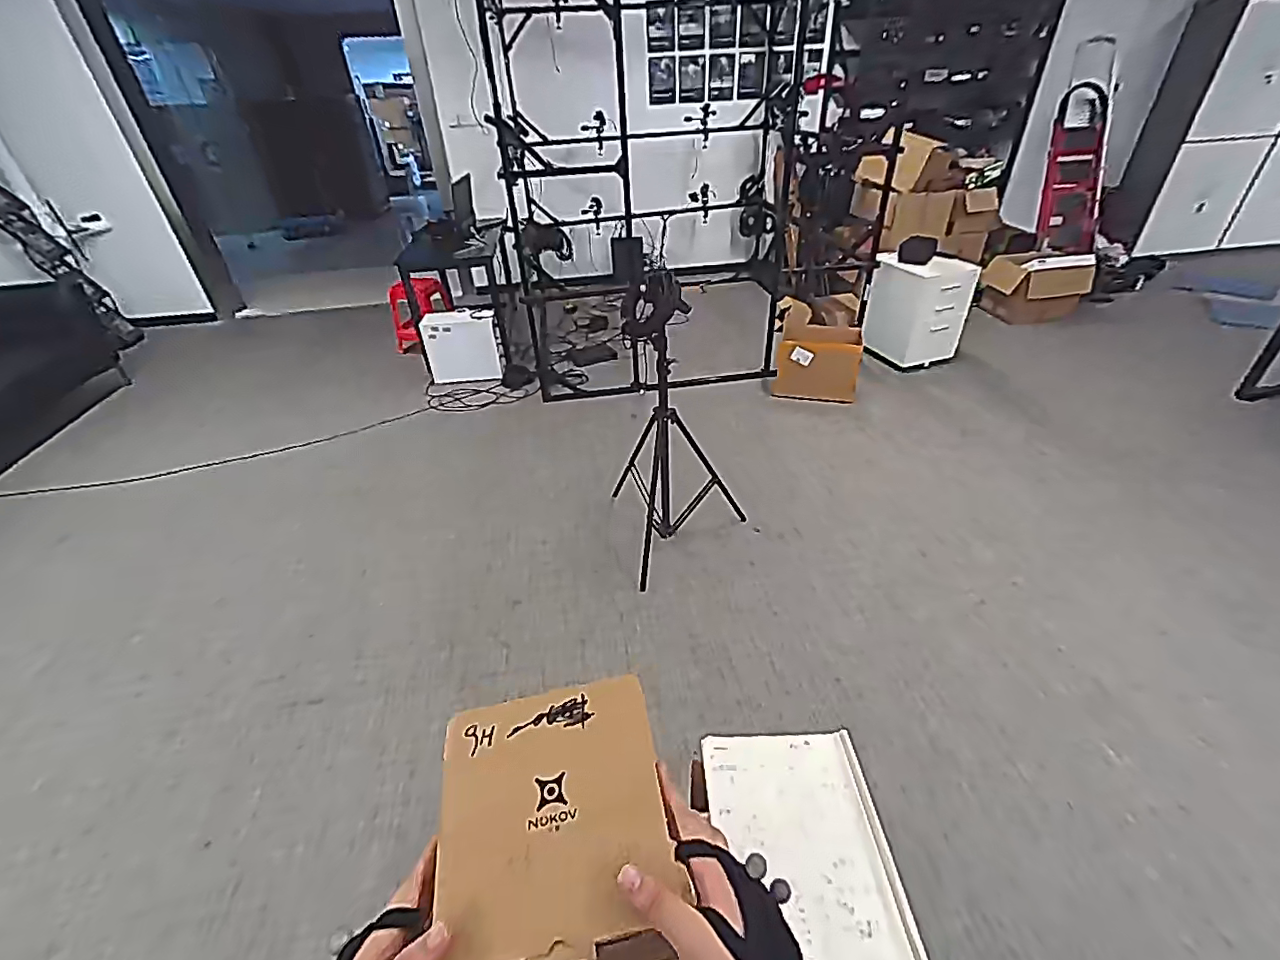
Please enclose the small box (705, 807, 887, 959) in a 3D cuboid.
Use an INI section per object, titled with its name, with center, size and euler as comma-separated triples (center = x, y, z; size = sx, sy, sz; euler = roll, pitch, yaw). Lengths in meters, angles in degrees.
[small box]
center = 0.175, 0.529, 0.659
size = 0.168, 0.176, 0.179
euler = -1, 38, -2
